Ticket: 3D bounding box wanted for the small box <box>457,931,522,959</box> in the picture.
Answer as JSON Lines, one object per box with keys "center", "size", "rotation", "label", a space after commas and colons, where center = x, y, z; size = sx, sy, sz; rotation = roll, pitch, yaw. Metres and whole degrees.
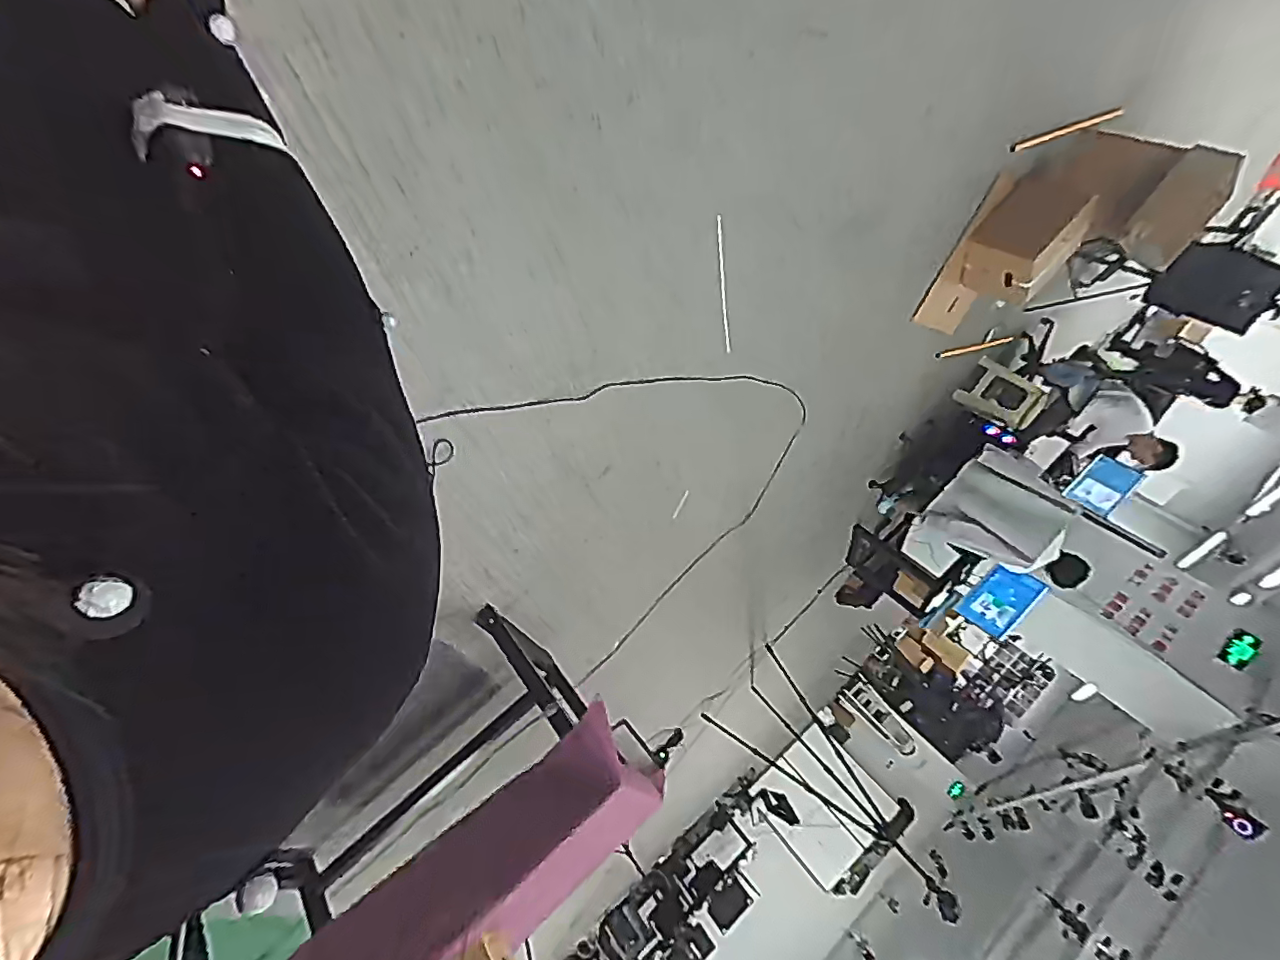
{"center": [-0.399, 1.301, 1.385], "size": [0.179, 0.176, 0.168], "rotation": [-37, 145, -17], "label": "small box"}
